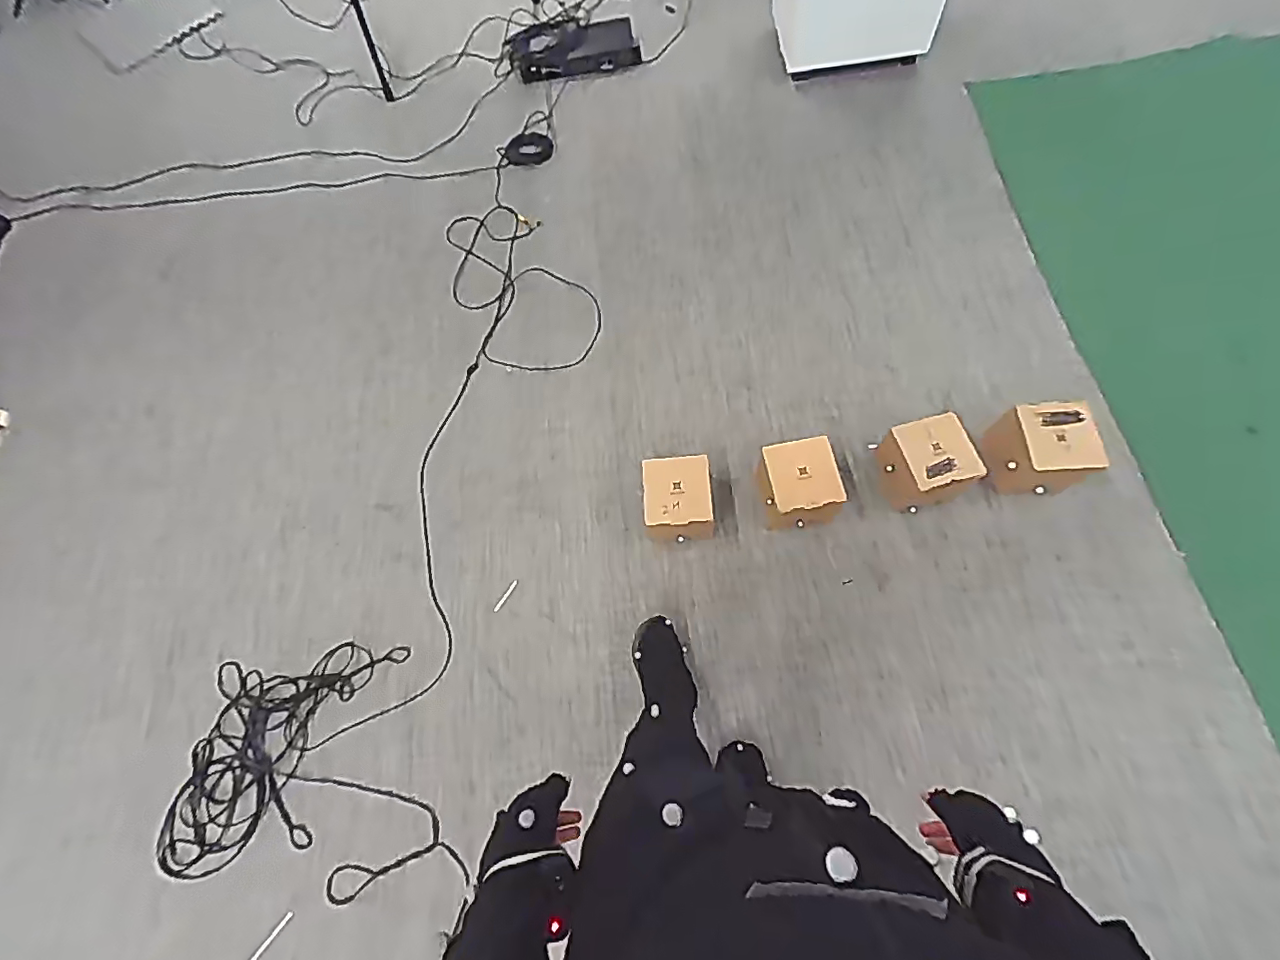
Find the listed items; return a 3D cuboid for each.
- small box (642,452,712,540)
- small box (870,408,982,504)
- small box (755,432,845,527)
[{"bbox_3d":[0.095,0.044,1.393,0.168,0.176,0.179,-5,68,5],"label":"small box"},{"bbox_3d":[0.710,-0.050,1.364,0.168,0.176,0.179,-15,67,0],"label":"small box"},{"bbox_3d":[0.397,0.004,1.377,0.168,0.176,0.179,-11,69,2],"label":"small box"}]
